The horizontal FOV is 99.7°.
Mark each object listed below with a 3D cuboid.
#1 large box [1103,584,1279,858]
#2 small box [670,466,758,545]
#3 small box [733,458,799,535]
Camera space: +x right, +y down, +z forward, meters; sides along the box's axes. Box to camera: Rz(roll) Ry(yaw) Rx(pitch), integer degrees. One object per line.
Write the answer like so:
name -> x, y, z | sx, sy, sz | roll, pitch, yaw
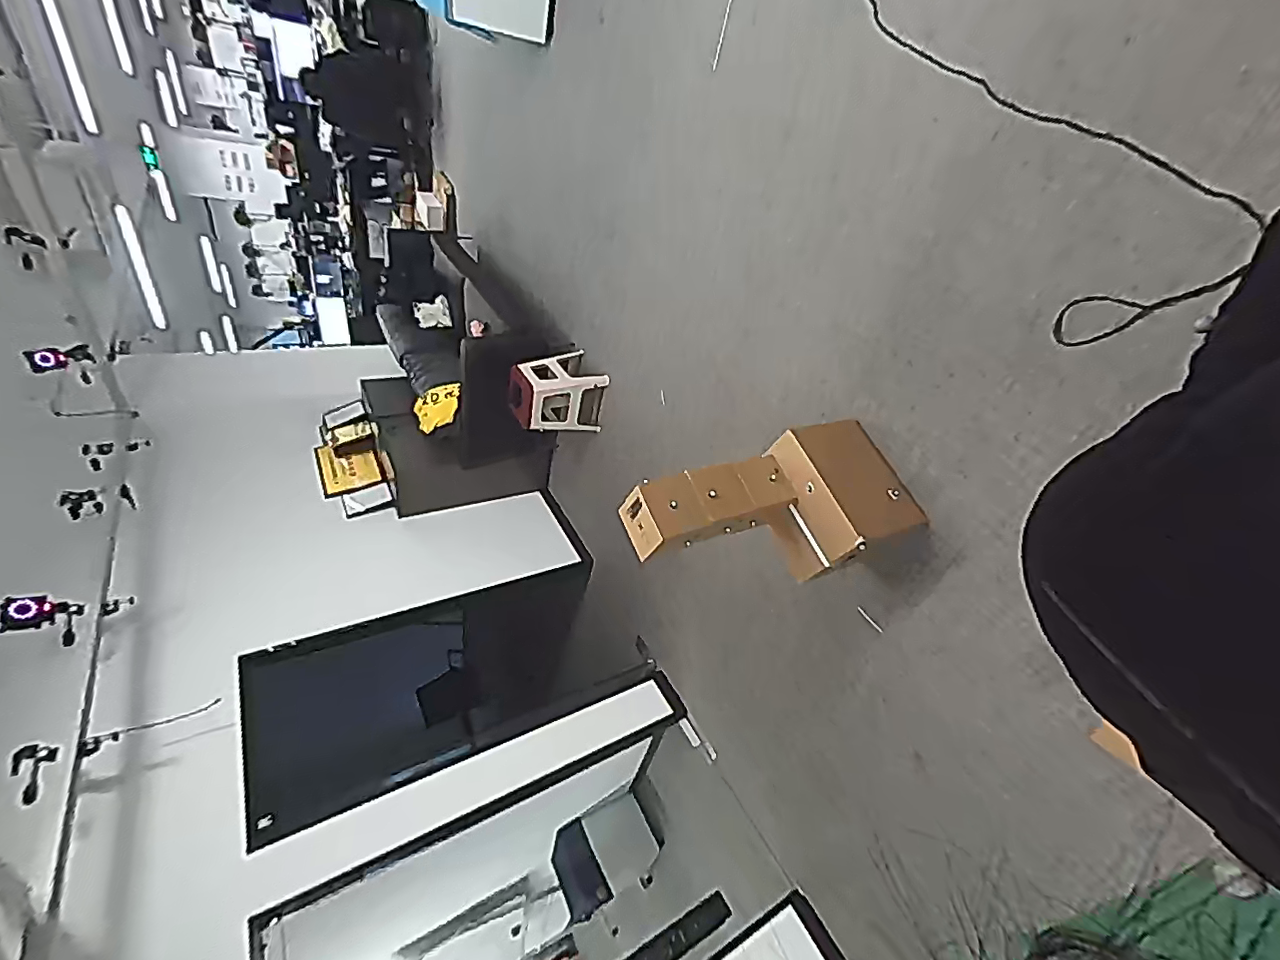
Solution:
large box -> 1.172, 0.445, 0.957 | 0.408, 0.320, 0.320 | 37, 131, 47
small box -> 0.222, 0.071, 1.625 | 0.179, 0.176, 0.168 | 65, 148, 21
small box -> 0.364, 0.050, 1.700 | 0.168, 0.176, 0.179 | 65, 148, 23
